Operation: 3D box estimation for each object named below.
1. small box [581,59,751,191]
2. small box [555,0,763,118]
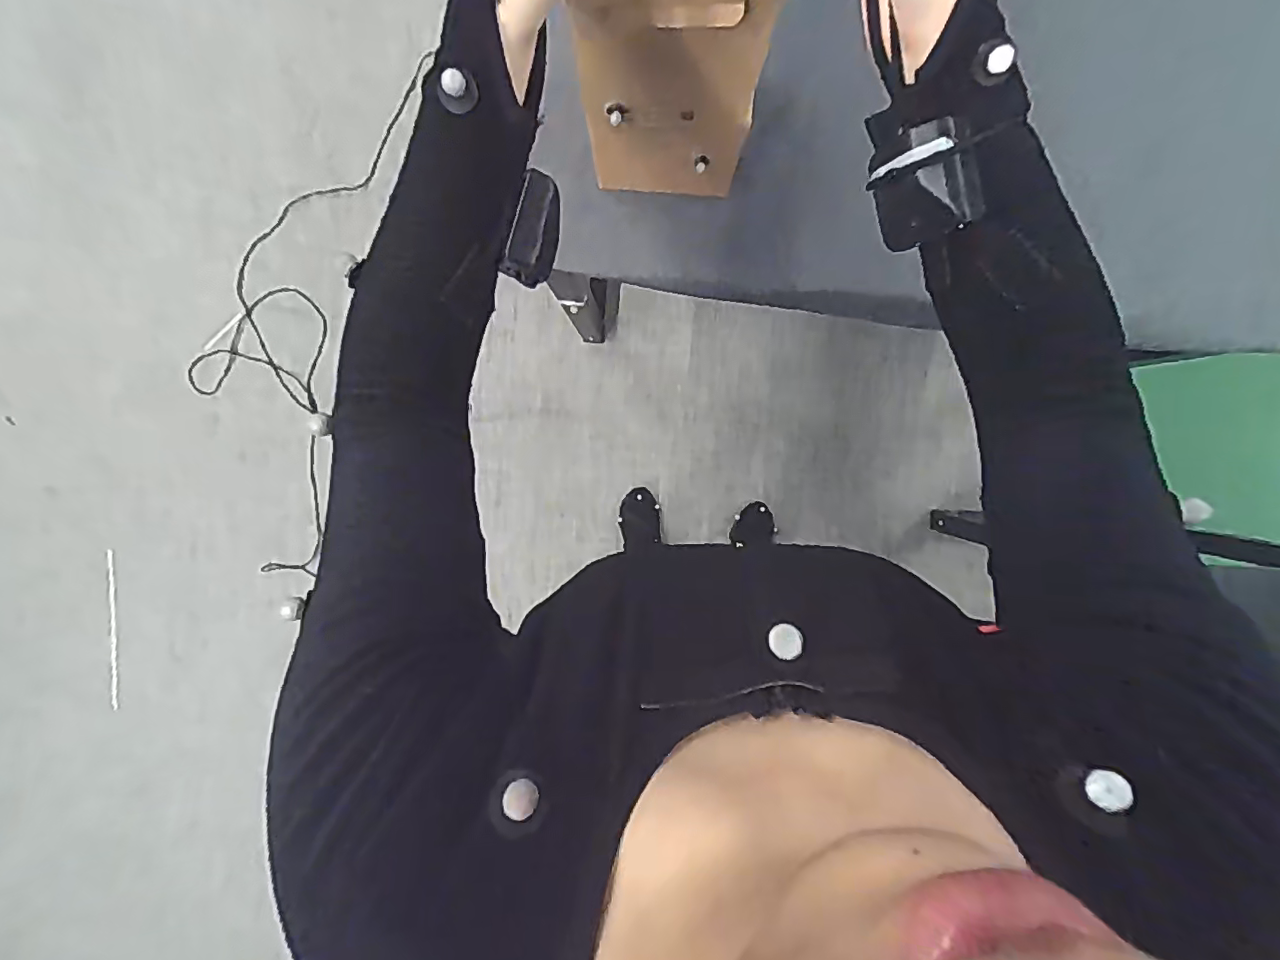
[{"bbox_3d":[0.031,-0.463,0.636,0.179,0.176,0.168,3,93,2],"label":"small box"},{"bbox_3d":[0.018,-0.450,0.473,0.168,0.176,0.179,-1,93,1],"label":"small box"}]
